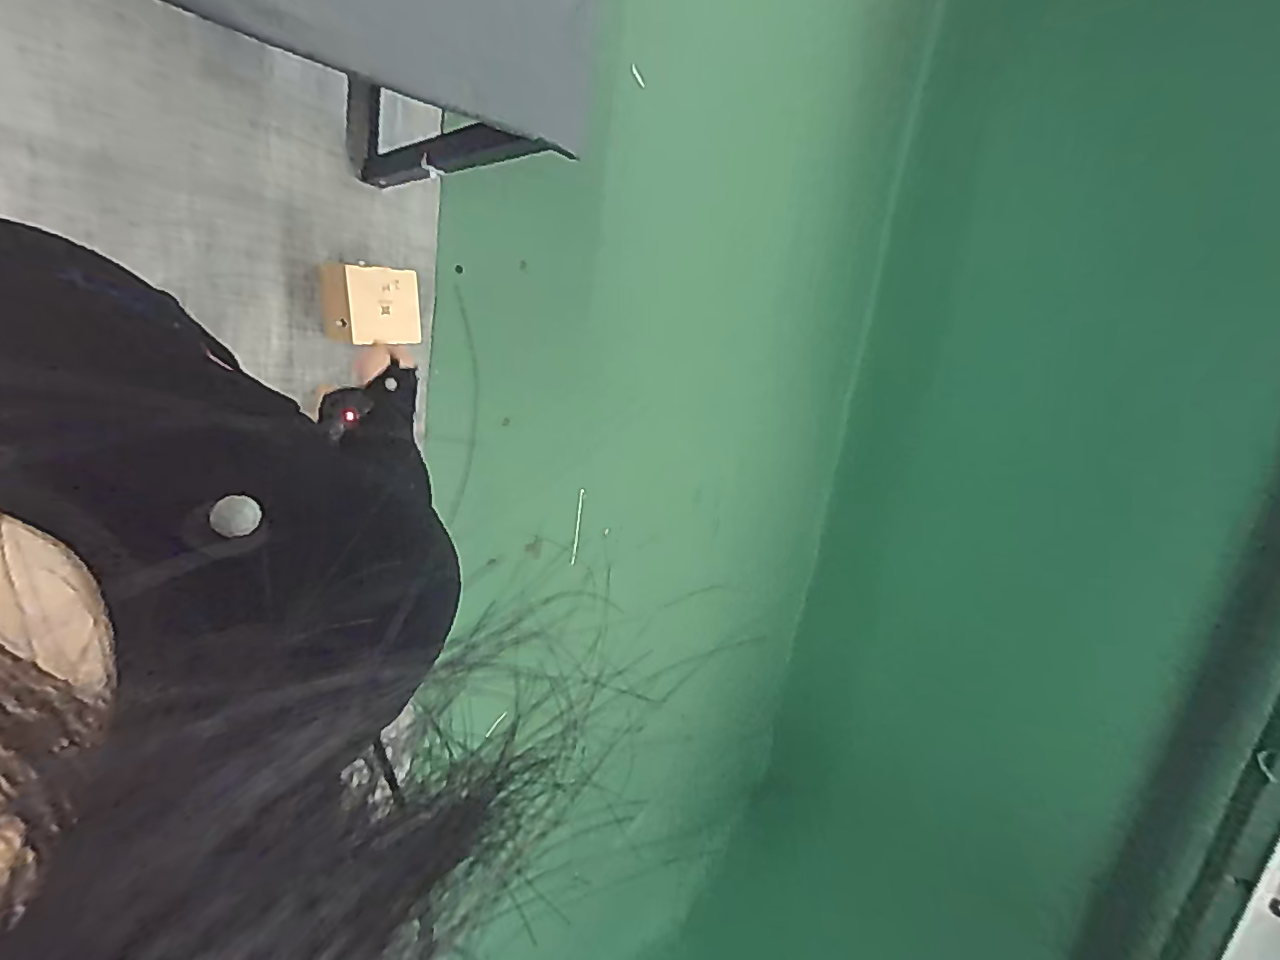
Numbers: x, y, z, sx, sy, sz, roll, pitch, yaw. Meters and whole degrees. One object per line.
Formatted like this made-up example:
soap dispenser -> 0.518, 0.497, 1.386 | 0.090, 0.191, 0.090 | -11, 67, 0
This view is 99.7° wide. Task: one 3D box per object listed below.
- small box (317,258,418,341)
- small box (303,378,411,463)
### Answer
small box -> -0.660, -0.437, 1.313 | 0.168, 0.176, 0.179 | -16, 117, -46
small box -> -0.716, -0.150, 1.366 | 0.179, 0.176, 0.168 | 9, 99, -50
